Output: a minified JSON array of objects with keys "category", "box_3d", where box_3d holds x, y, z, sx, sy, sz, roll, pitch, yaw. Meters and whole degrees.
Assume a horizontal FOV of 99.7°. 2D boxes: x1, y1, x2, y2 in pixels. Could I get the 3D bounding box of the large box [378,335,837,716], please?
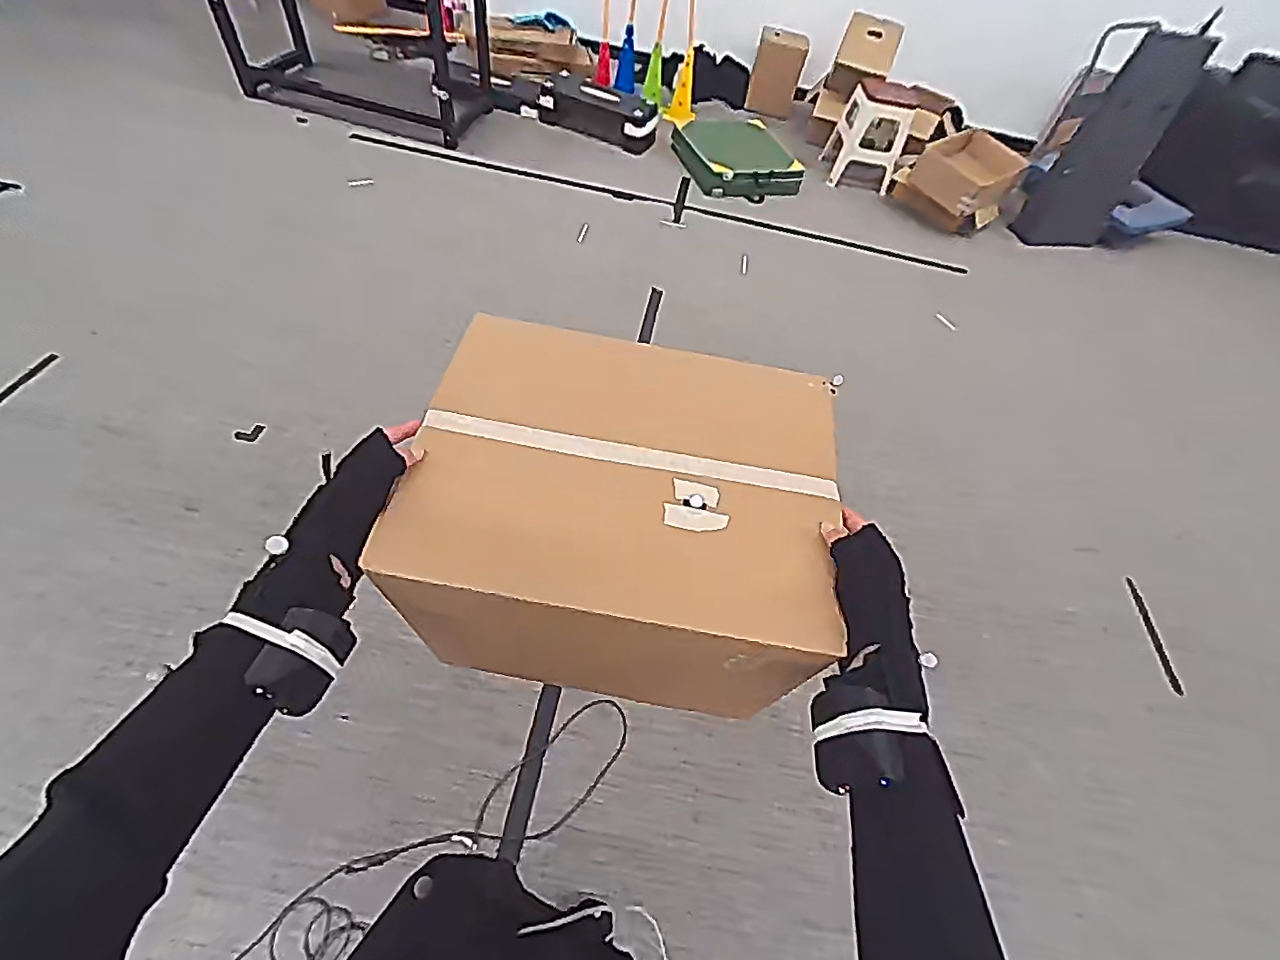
[{"category":"large box","box_3d":[-0.024,0.072,0.660,0.408,0.320,0.320,11,57,-1]}]
